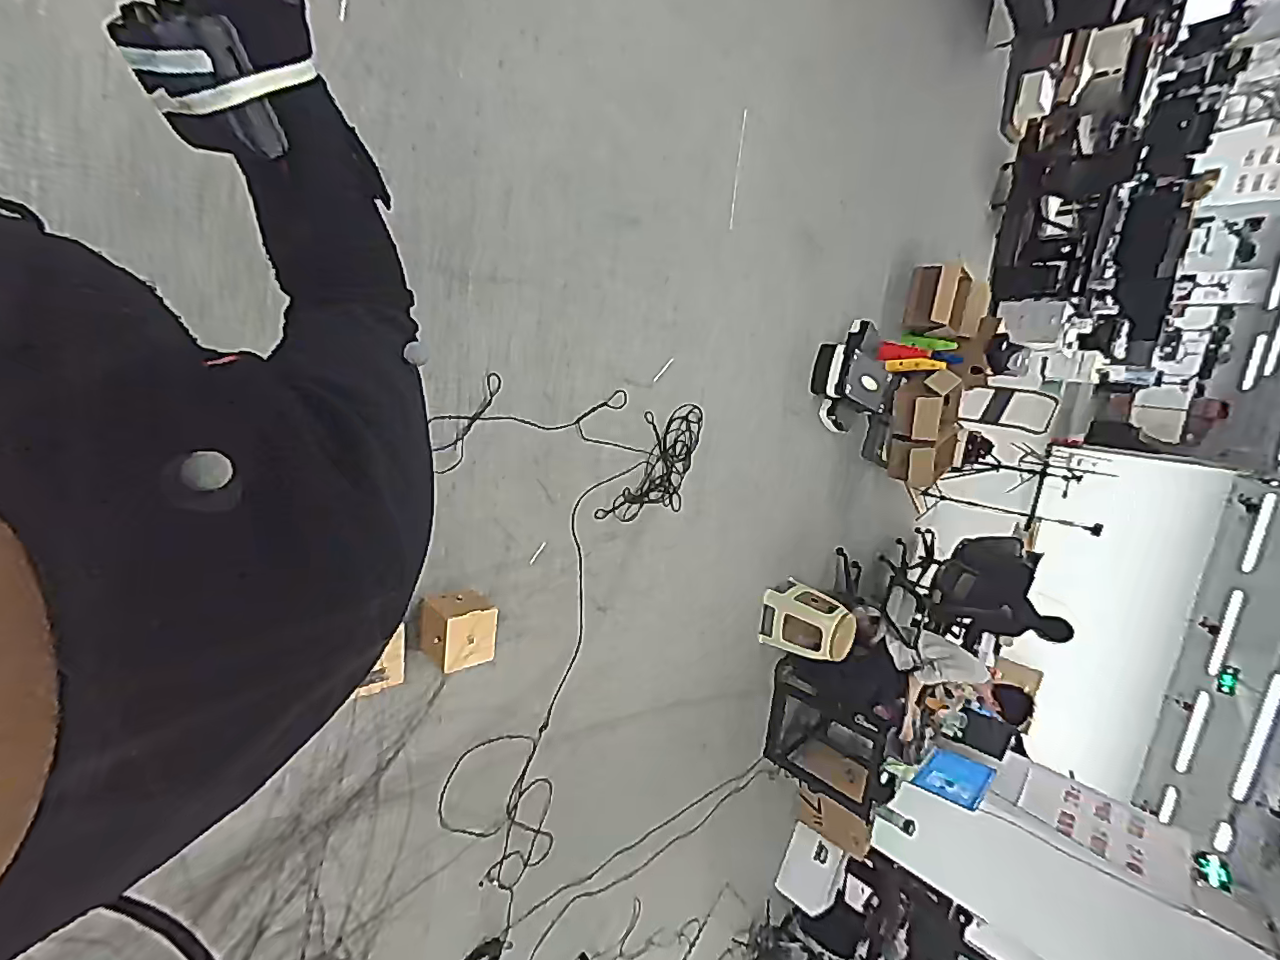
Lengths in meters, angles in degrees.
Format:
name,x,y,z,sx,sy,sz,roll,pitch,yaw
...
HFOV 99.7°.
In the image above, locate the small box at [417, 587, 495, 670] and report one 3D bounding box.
name,x,y,z,sx,sy,sz,roll,pitch,yaw
small box,-0.565,0.447,1.654,0.168,0.176,0.179,-4,104,-47
